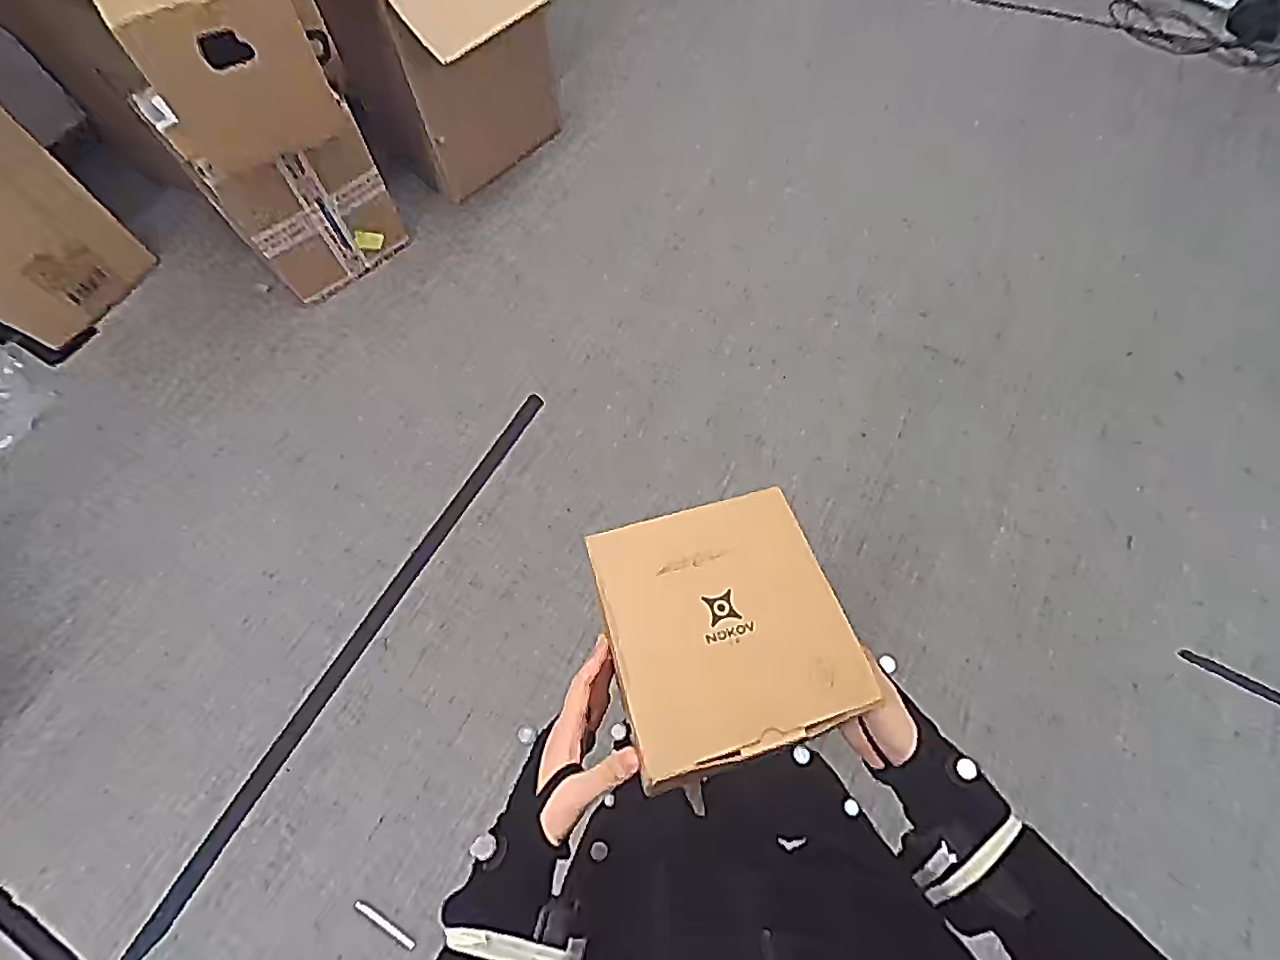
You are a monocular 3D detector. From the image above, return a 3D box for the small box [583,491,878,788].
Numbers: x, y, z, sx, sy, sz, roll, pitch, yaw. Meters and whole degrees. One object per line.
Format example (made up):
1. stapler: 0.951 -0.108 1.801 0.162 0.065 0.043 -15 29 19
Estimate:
1. small box: 0.056 0.139 0.451 0.168 0.176 0.179 -14 58 -10
